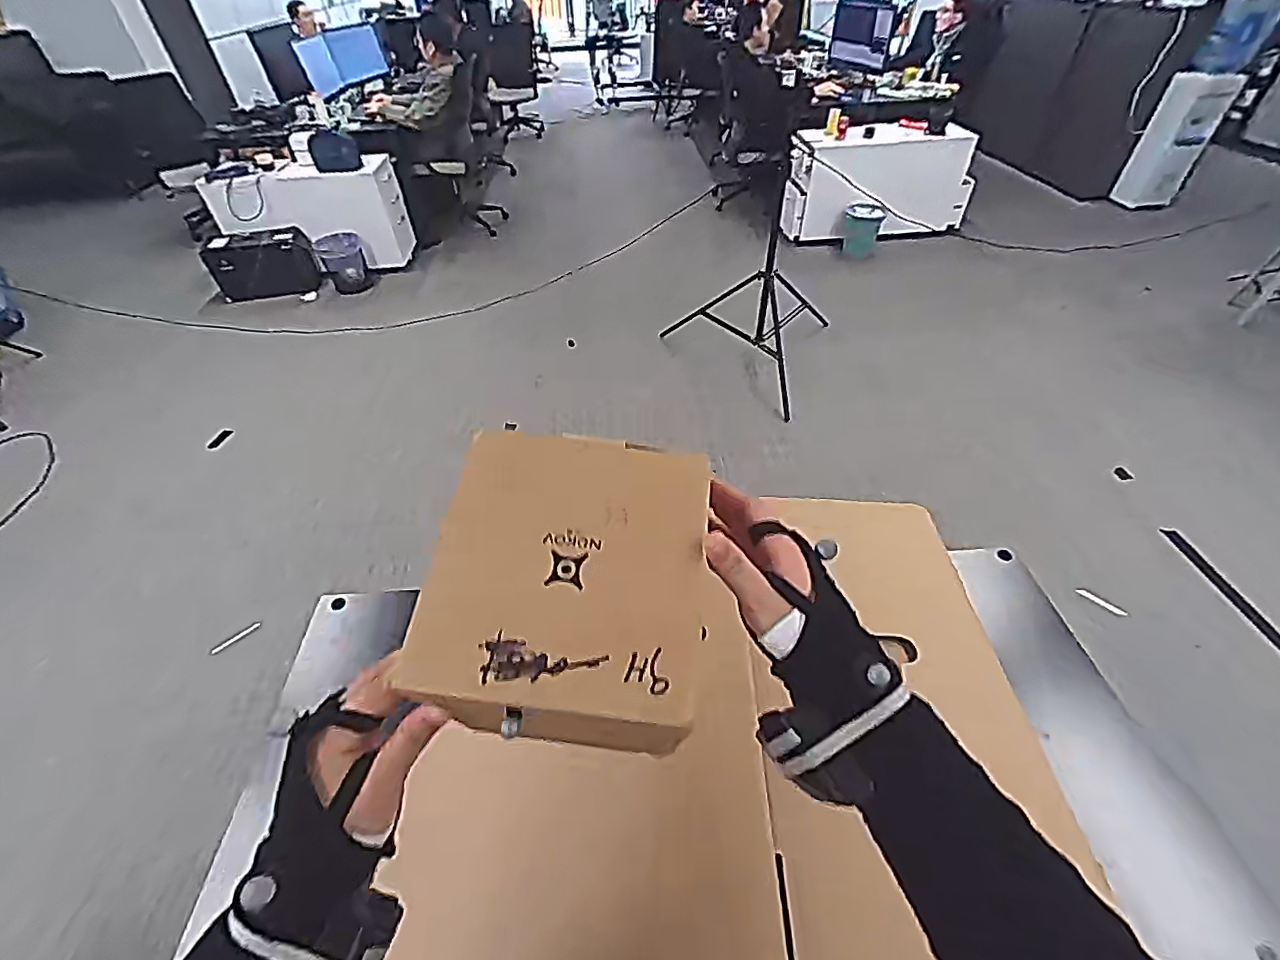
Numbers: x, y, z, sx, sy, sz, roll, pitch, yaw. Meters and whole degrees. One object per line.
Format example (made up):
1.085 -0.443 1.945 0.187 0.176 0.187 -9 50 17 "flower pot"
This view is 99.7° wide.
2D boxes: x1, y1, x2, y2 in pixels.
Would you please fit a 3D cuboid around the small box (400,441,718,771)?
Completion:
-0.040 0.097 0.395 0.168 0.176 0.179 6 57 3 "small box"
